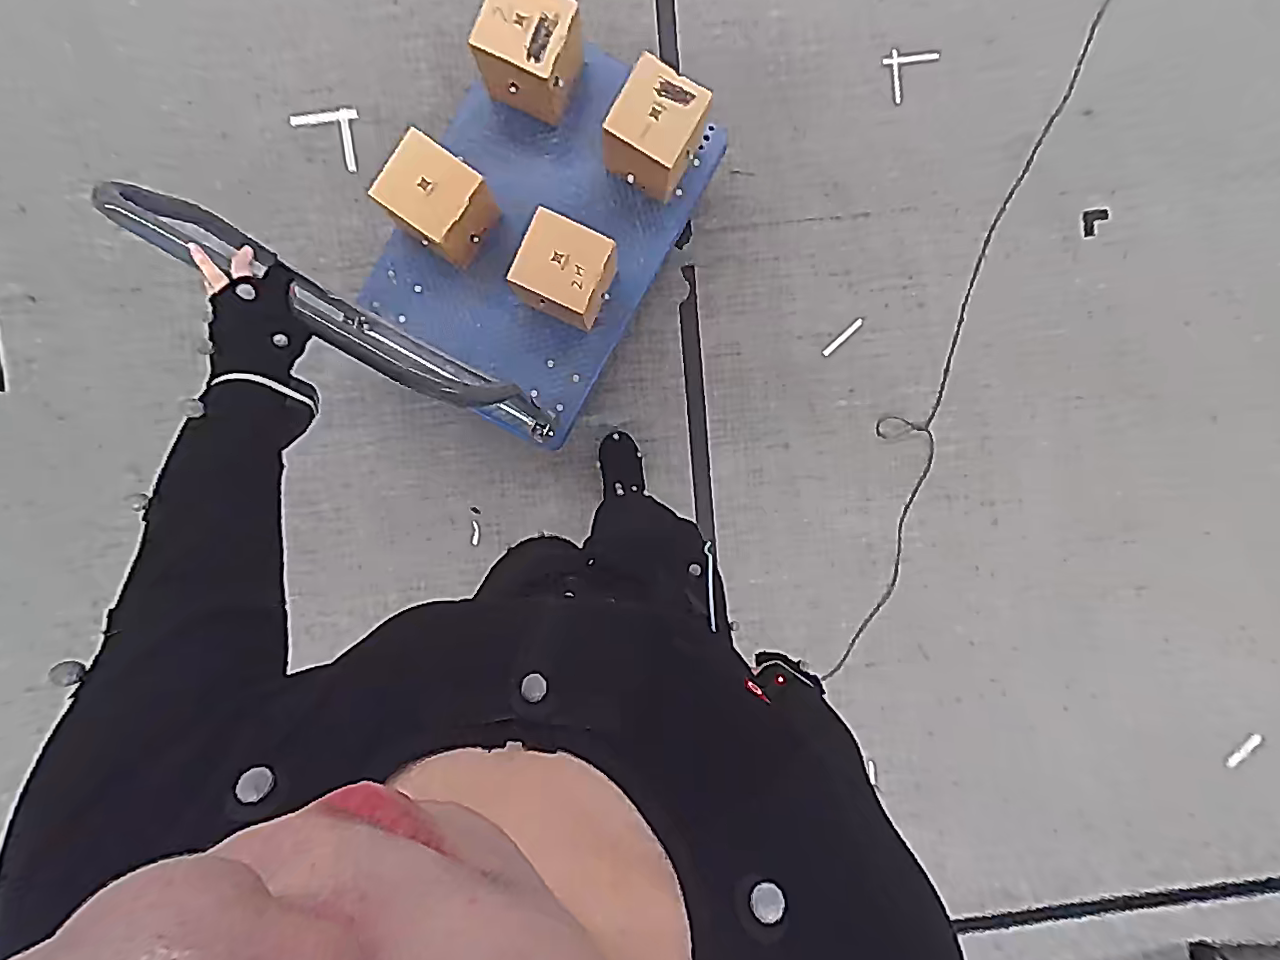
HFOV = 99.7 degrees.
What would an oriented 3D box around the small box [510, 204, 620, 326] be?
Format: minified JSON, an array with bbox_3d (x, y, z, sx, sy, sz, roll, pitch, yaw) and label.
[{"bbox_3d":[-0.156,-0.457,1.183,0.179,0.176,0.168,25,92,-2],"label":"small box"}]

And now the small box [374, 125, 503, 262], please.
[{"bbox_3d":[-0.425,-0.605,1.170,0.179,0.176,0.168,34,92,-4],"label":"small box"}]

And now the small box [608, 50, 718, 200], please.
[{"bbox_3d":[0.043,-0.756,1.172,0.168,0.176,0.179,31,93,-3],"label":"small box"}]
